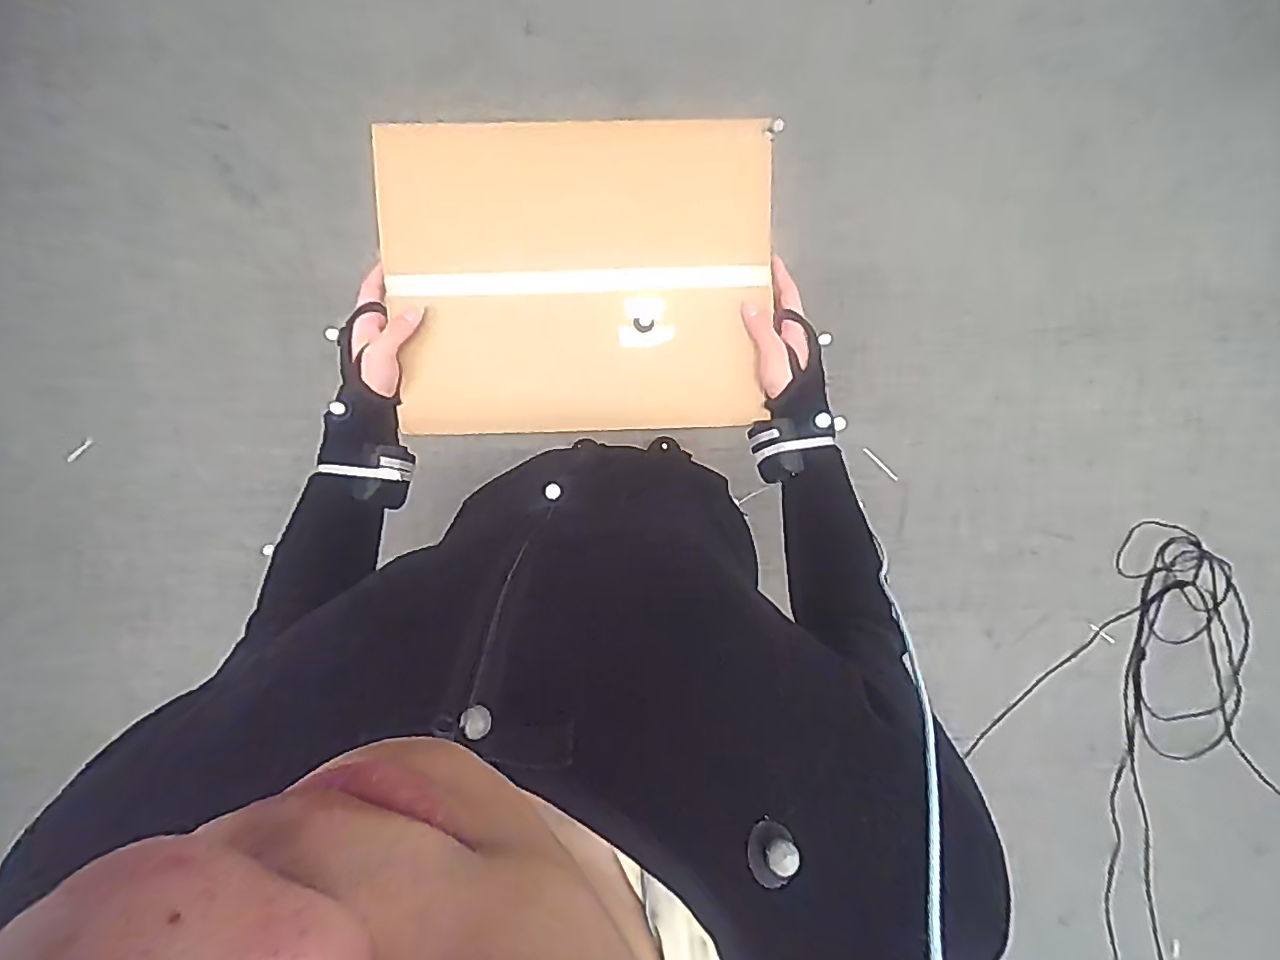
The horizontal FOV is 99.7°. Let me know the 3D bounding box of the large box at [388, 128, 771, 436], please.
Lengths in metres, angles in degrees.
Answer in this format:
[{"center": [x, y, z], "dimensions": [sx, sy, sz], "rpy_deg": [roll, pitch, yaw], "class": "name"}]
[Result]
[{"center": [-0.065, -0.227, 0.728], "dimensions": [0.408, 0.320, 0.320], "rpy_deg": [-2, 97, -2], "class": "large box"}]
